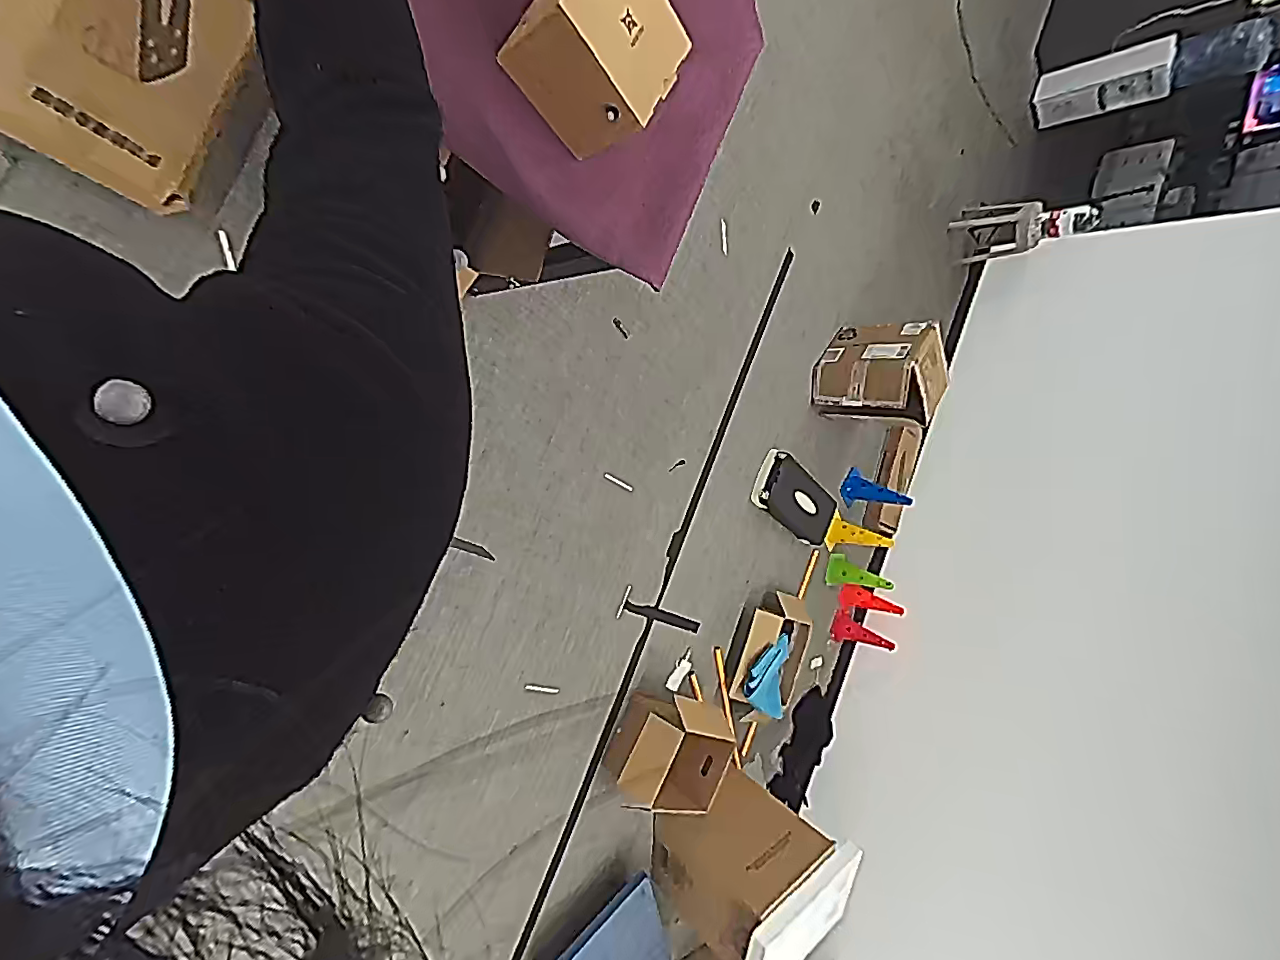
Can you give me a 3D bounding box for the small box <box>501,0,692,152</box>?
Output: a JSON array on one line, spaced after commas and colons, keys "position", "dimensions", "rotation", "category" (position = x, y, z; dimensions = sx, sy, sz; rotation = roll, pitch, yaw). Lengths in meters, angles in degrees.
[{"position": [-0.064, -0.614, 0.771], "dimensions": [0.179, 0.176, 0.168], "rotation": [36, 75, -42], "category": "small box"}]
